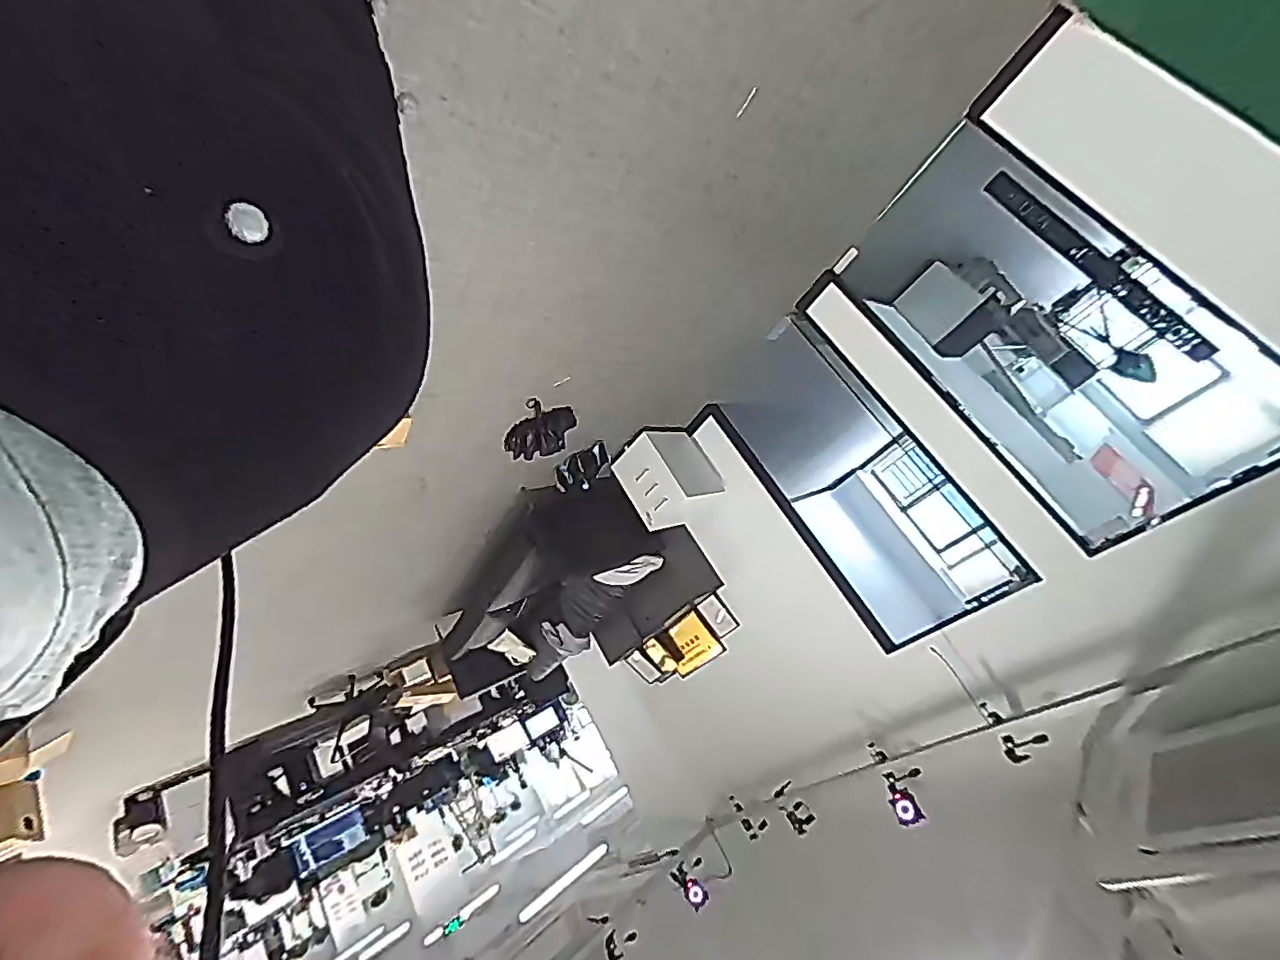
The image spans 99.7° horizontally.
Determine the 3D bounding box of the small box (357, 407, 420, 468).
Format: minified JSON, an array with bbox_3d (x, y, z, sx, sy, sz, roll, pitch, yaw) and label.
[{"bbox_3d":[-1.002,-0.177,2.144,0.168,0.176,0.179,-14,151,-44],"label":"small box"}]
